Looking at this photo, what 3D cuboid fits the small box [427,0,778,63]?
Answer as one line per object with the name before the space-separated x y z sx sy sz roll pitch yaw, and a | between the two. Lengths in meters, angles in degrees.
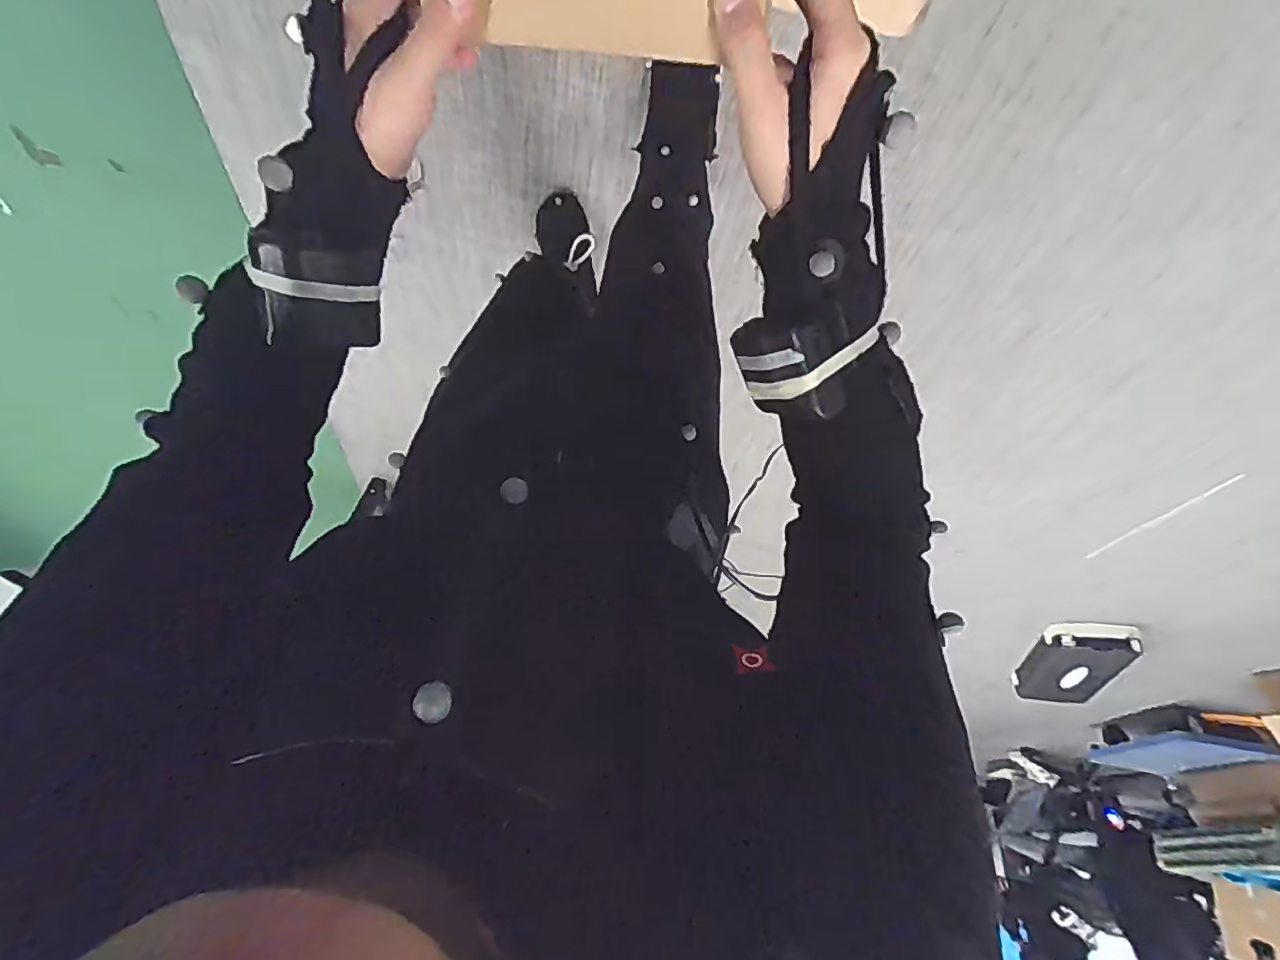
small box | -0.005 -0.324 0.251 0.168 0.176 0.179 9 138 5
